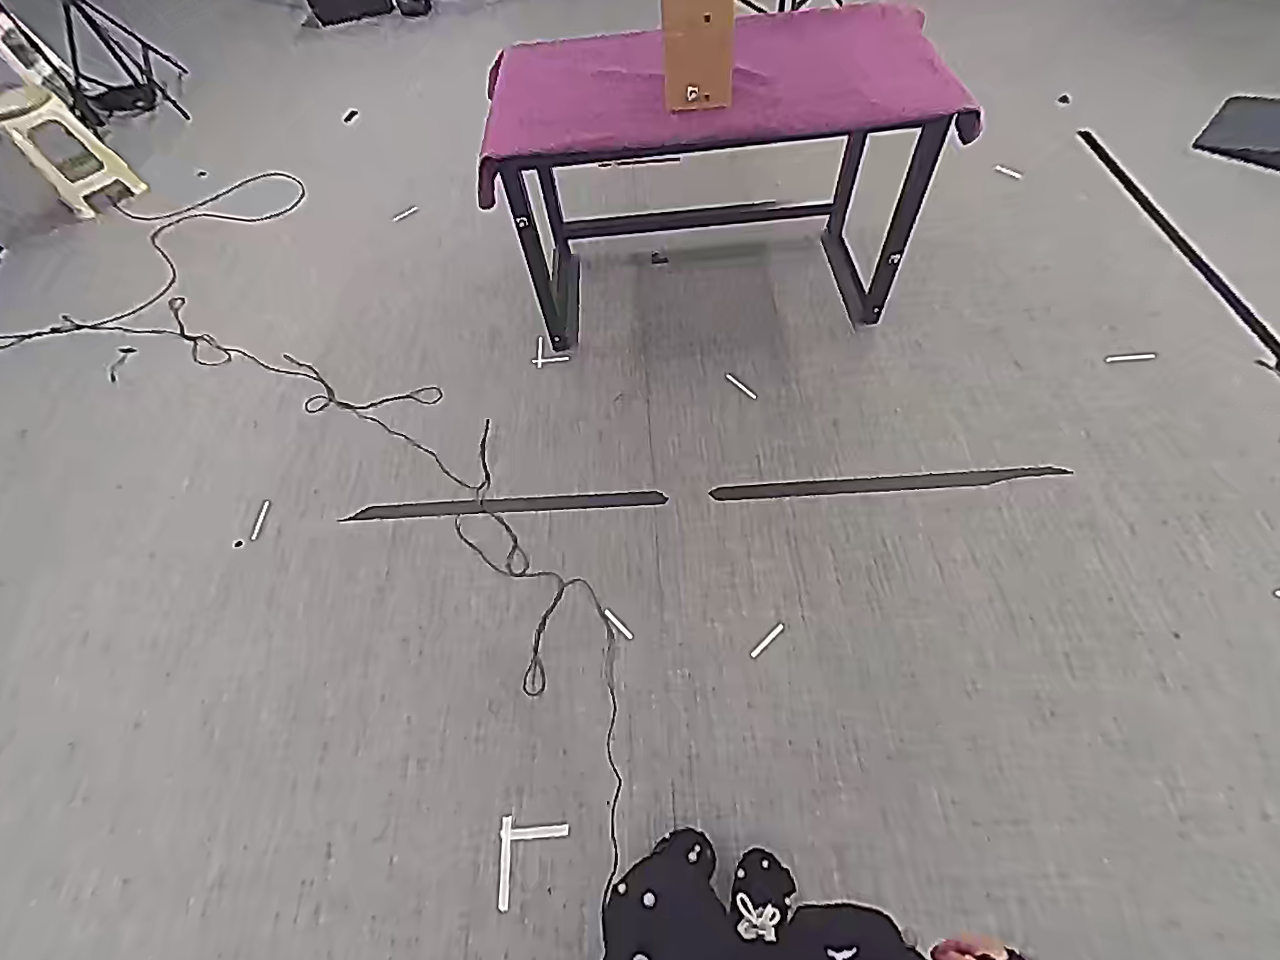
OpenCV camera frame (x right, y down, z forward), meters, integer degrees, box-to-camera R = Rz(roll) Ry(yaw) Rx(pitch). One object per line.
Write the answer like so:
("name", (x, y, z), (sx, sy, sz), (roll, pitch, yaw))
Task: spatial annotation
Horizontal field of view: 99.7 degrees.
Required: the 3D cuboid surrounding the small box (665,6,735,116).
("small box", (0.150, -1.065, 1.379), (0.168, 0.176, 0.179), (-3, 59, 5))
